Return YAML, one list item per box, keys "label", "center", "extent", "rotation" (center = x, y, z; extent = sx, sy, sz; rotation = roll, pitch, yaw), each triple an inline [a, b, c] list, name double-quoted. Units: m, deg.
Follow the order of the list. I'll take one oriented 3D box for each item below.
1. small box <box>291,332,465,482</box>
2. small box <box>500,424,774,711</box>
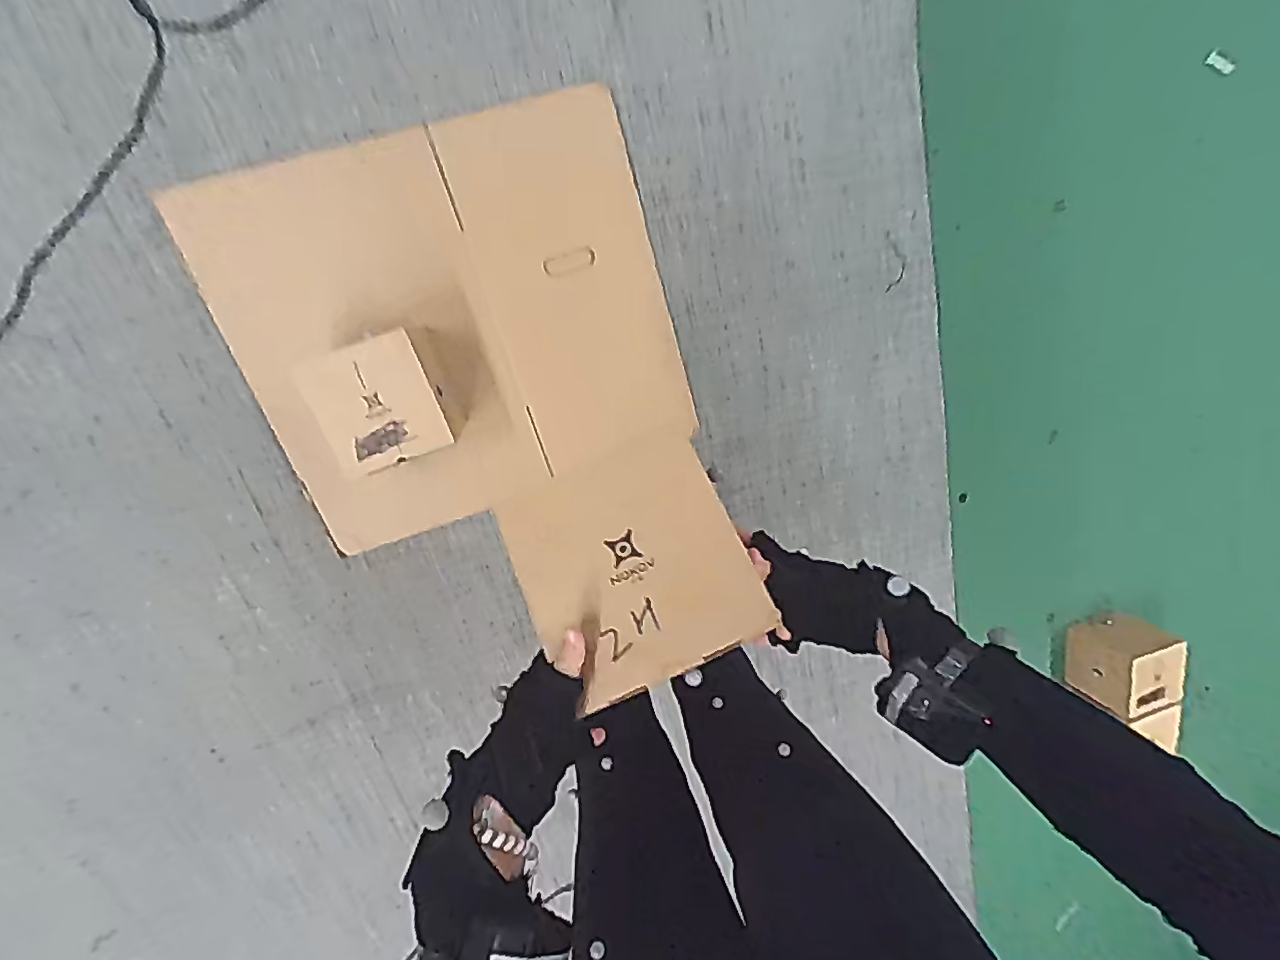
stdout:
- label: "small box"
  center: [-0.384, -0.121, 0.834]
  extent: [0.168, 0.176, 0.179]
  rotation: [-21, 108, -6]
- label: "small box"
  center: [0.003, 0.083, 0.486]
  extent: [0.168, 0.176, 0.179]
  rotation: [-26, 71, 3]
